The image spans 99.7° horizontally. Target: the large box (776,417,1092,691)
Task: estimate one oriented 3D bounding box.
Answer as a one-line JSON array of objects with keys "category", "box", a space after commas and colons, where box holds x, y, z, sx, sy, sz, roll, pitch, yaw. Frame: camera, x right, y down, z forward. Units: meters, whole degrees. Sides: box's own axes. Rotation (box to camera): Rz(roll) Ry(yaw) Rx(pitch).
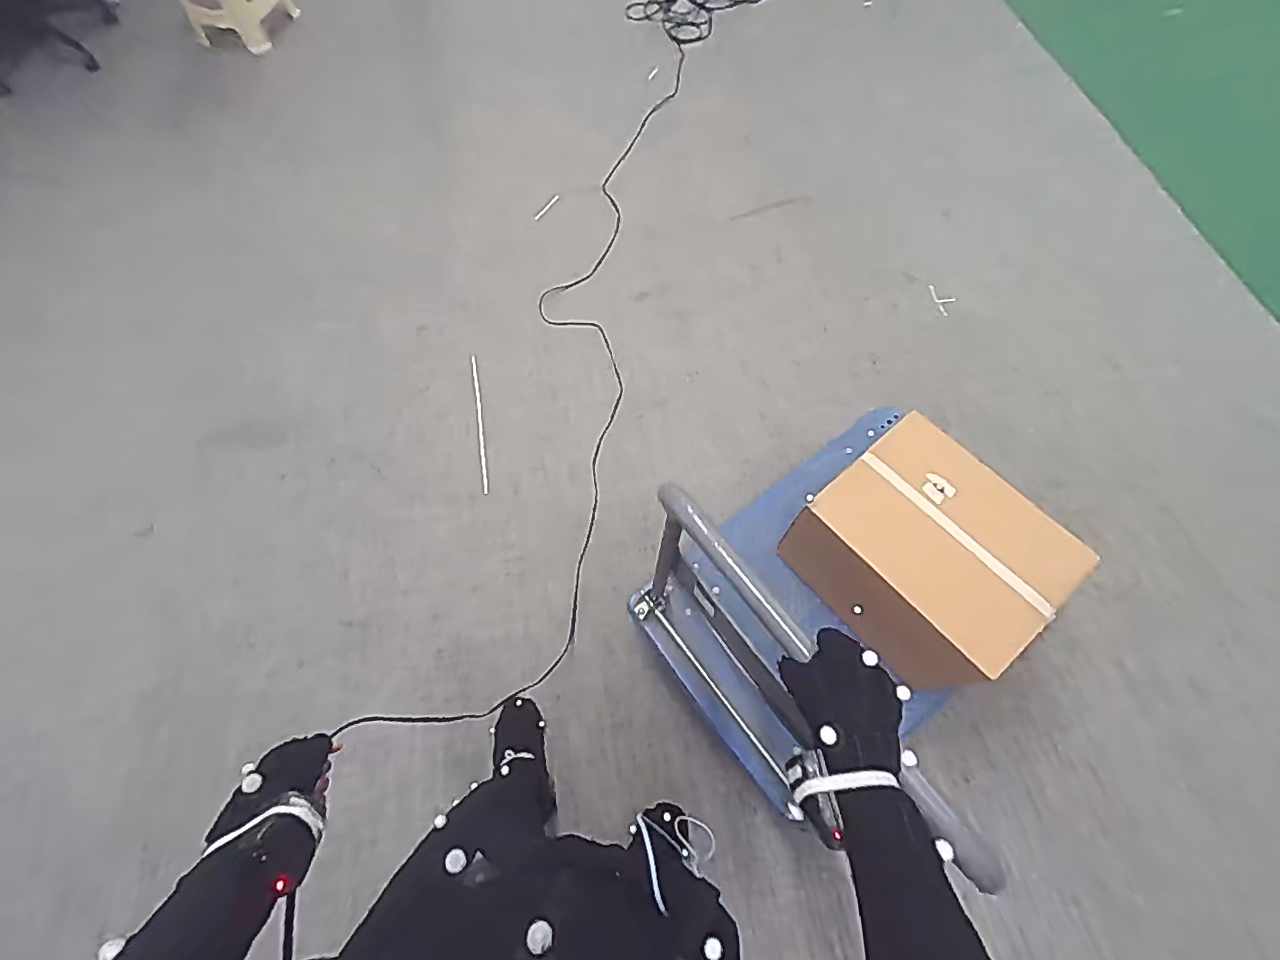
[{"category": "large box", "box": [0.547, 0.160, 1.096, 0.320, 0.320, 0.408, -38, 69, -14]}]
